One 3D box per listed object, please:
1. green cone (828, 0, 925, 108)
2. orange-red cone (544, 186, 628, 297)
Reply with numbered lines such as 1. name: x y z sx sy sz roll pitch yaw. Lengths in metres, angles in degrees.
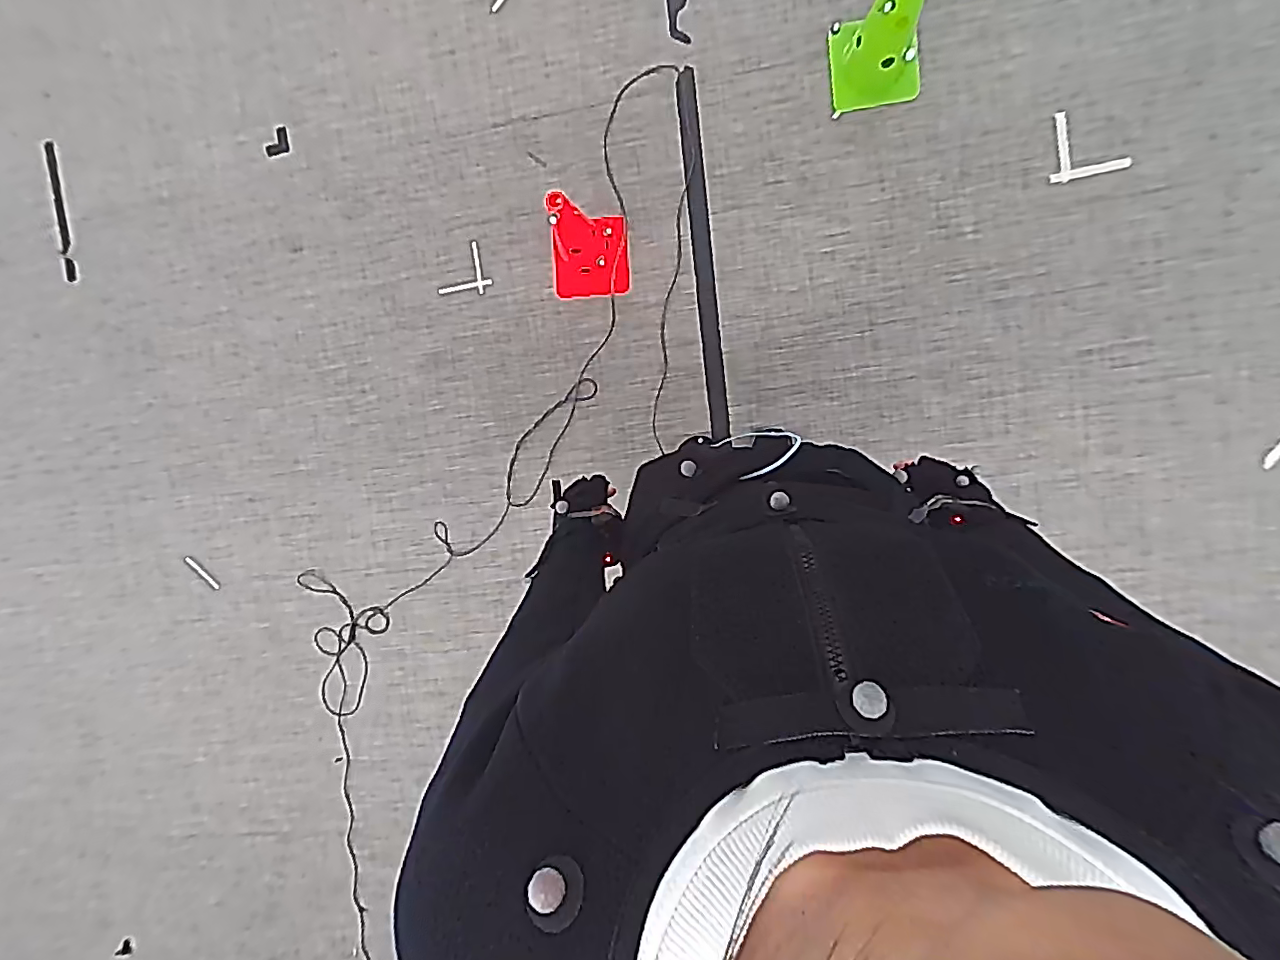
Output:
1. green cone: 0.538 -0.984 1.116 0.202 0.368 0.200 -6 94 6
2. orange-red cone: -0.153 -0.571 1.240 0.199 0.360 0.198 -2 93 8
